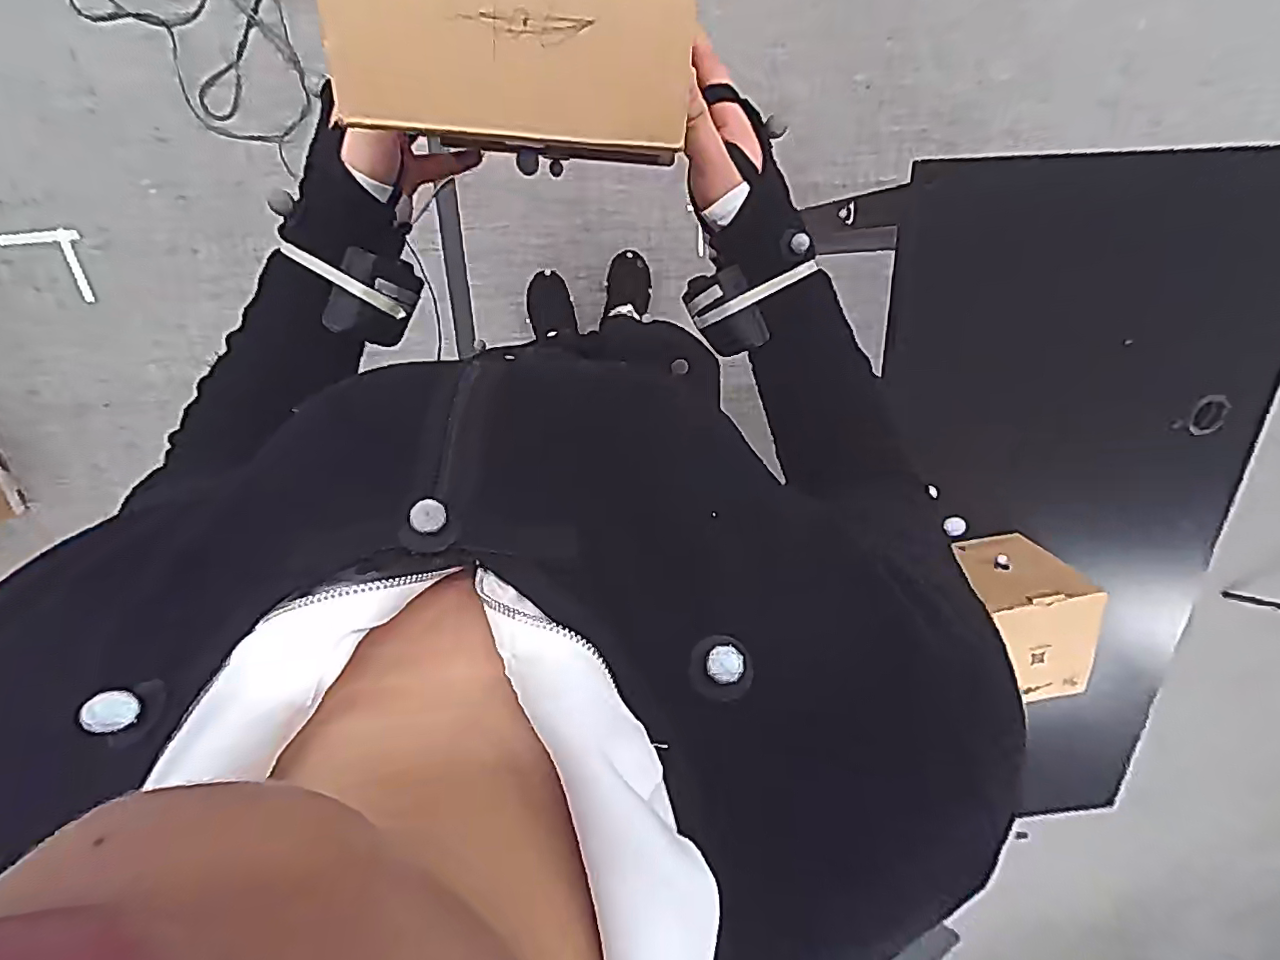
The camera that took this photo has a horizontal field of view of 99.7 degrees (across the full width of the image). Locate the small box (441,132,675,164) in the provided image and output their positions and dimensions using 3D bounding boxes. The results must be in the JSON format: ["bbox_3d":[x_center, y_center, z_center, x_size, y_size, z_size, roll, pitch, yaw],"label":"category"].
[{"bbox_3d":[-0.059,-0.357,0.434,0.179,0.176,0.168,2,120,-4],"label":"small box"}]

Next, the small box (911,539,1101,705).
[{"bbox_3d":[0.536,0.201,0.818,0.168,0.176,0.179,-9,111,-3],"label":"small box"}]

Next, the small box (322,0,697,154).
[{"bbox_3d":[-0.057,-0.284,0.288,0.168,0.176,0.179,2,120,-4],"label":"small box"}]
